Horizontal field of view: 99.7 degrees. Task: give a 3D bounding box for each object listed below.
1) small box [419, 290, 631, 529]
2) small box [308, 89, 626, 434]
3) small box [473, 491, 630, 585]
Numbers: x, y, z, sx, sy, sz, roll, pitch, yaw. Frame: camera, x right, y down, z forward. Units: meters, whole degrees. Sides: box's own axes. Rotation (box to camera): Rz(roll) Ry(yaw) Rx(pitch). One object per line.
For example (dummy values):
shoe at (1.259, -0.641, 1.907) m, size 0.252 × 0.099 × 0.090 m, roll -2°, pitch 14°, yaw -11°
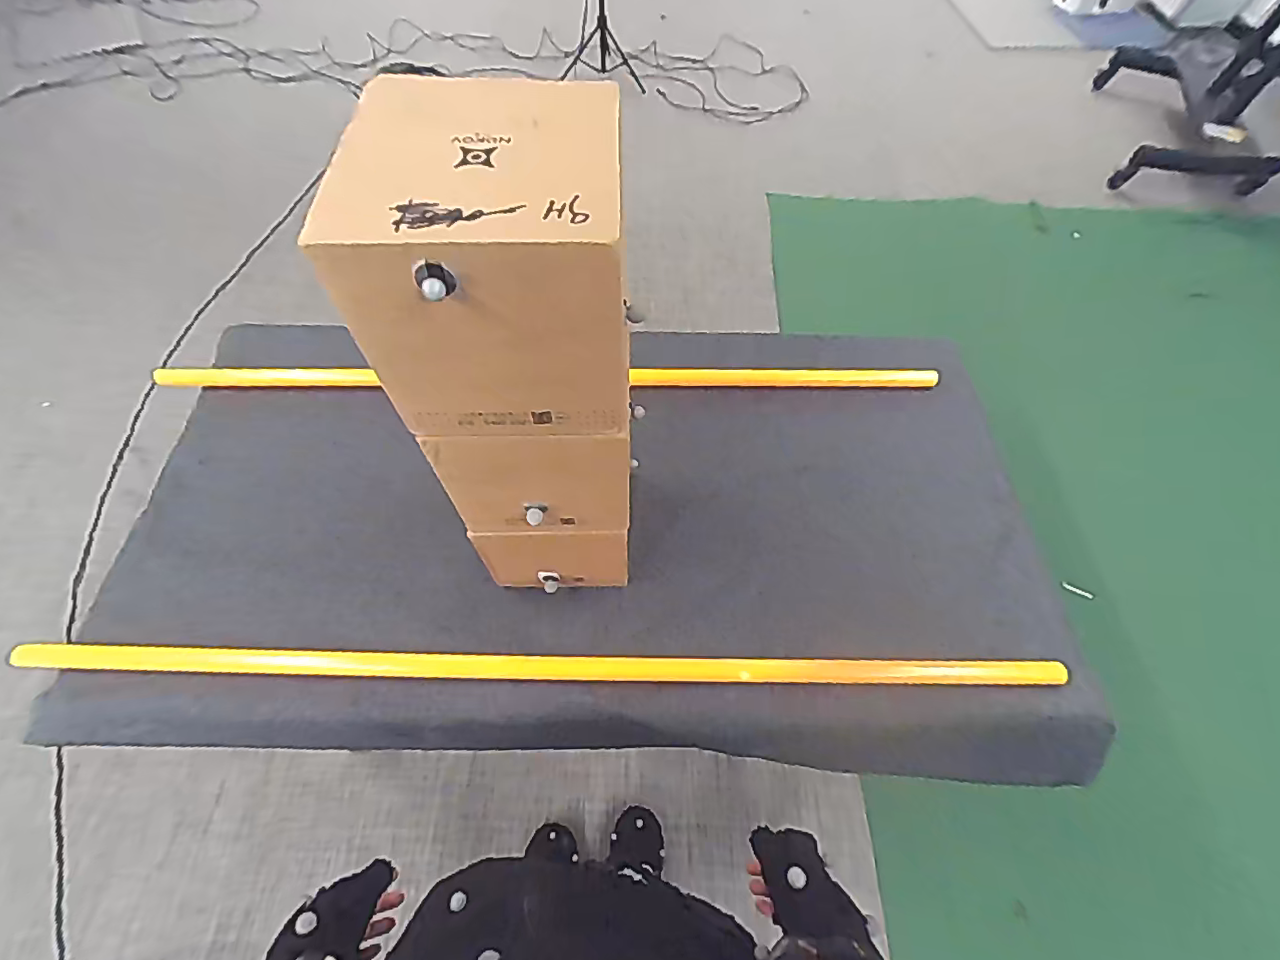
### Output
small box at (-0.094, -0.067, 0.535) m, size 0.168 × 0.176 × 0.179 m, roll -1°, pitch 60°, yaw -1°
small box at (-0.096, -0.153, 0.396) m, size 0.168 × 0.176 × 0.179 m, roll -1°, pitch 59°, yaw 0°
small box at (-0.097, 0.019, 0.676) m, size 0.168 × 0.176 × 0.179 m, roll -2°, pitch 61°, yaw -1°
